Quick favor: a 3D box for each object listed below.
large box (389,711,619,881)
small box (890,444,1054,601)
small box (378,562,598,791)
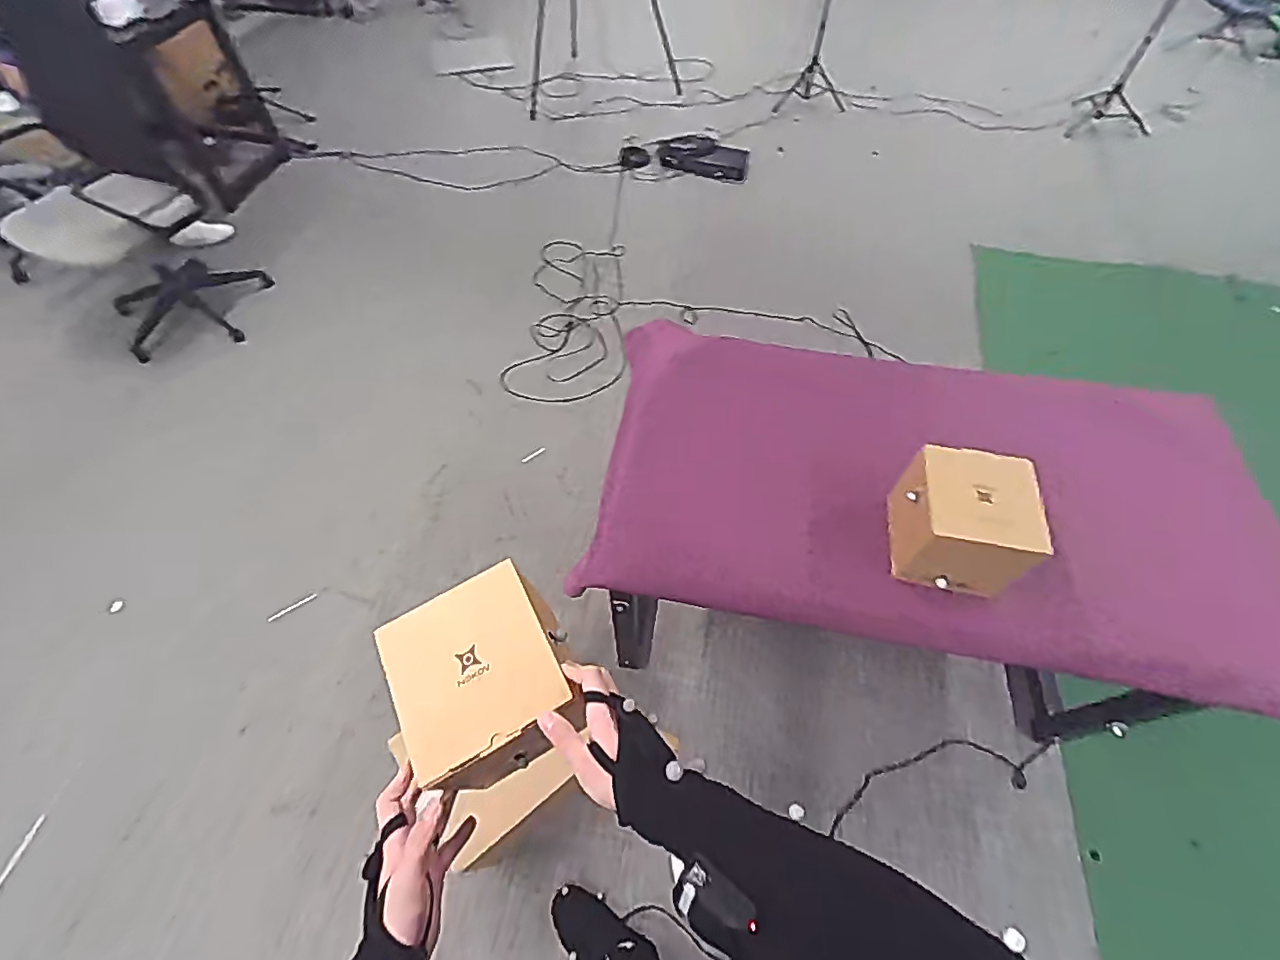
[{"bbox_3d":[-0.299,0.657,1.294,0.408,0.320,0.320,-34,63,-21],"label":"large box"},{"bbox_3d":[0.520,0.071,0.879,0.168,0.176,0.179,10,56,8],"label":"small box"},{"bbox_3d":[-0.164,0.229,0.620,0.168,0.176,0.179,-27,63,-10],"label":"small box"}]
